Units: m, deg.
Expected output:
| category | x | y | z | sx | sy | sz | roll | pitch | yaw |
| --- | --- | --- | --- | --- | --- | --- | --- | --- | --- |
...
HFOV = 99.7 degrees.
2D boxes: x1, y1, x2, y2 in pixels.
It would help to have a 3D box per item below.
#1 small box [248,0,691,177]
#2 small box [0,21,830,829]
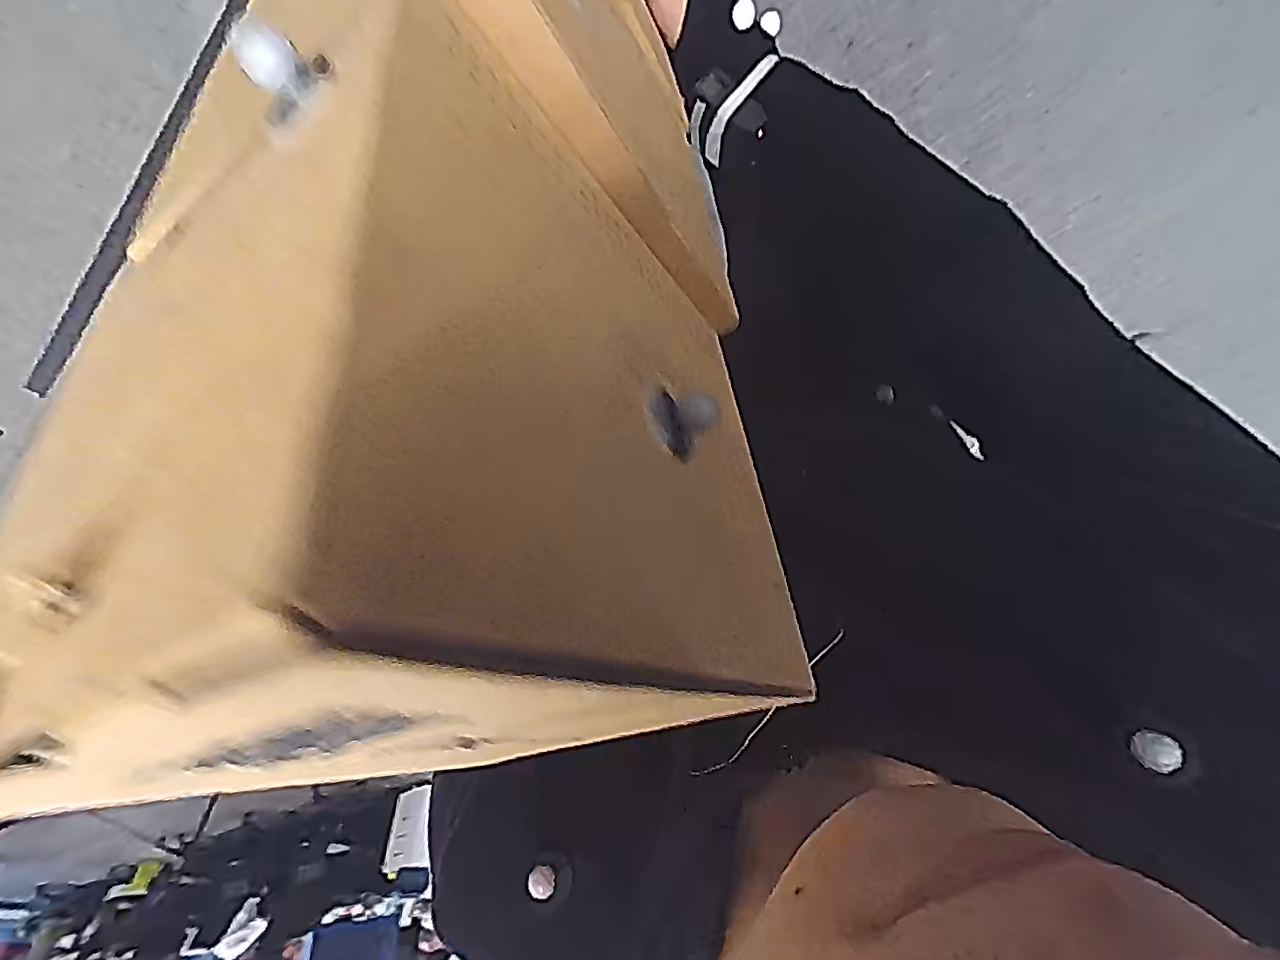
| category | x | y | z | sx | sy | sz | roll | pitch | yaw |
| --- | --- | --- | --- | --- | --- | --- | --- | --- | --- |
| small box | -0.089 | -0.292 | 0.331 | 0.168 | 0.176 | 0.179 | -21 | 150 | 22 |
| small box | -0.062 | 0.001 | 0.183 | 0.168 | 0.176 | 0.179 | -24 | 149 | 25 |
